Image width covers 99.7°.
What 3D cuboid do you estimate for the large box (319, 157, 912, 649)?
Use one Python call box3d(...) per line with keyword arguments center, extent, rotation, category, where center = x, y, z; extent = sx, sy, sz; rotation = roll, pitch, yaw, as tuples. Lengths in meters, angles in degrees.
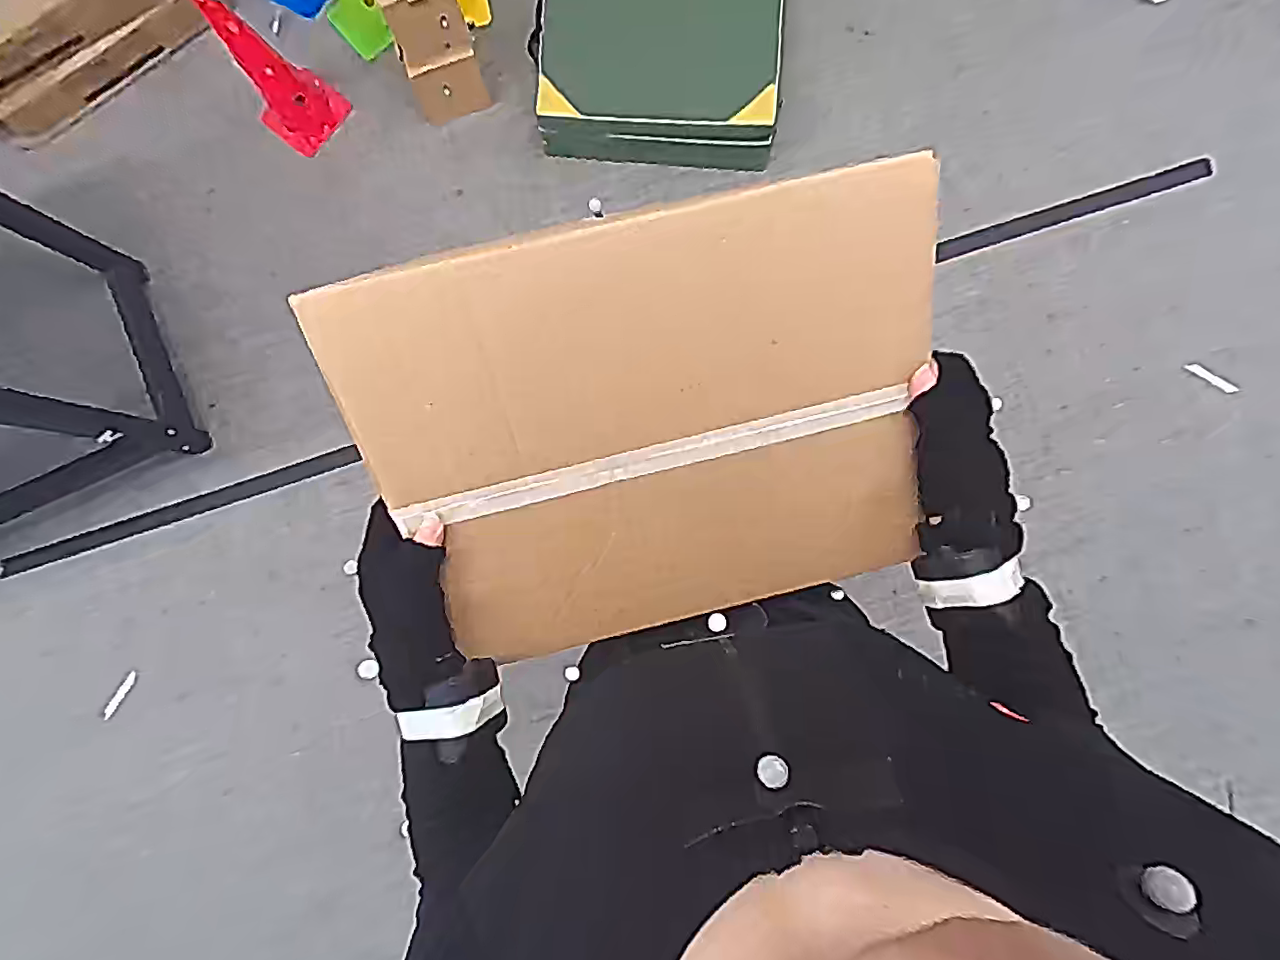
box3d(center=(-0.003, -0.096, 0.546), extent=(0.408, 0.320, 0.320), rotation=(-14, 117, -2), category="large box")
